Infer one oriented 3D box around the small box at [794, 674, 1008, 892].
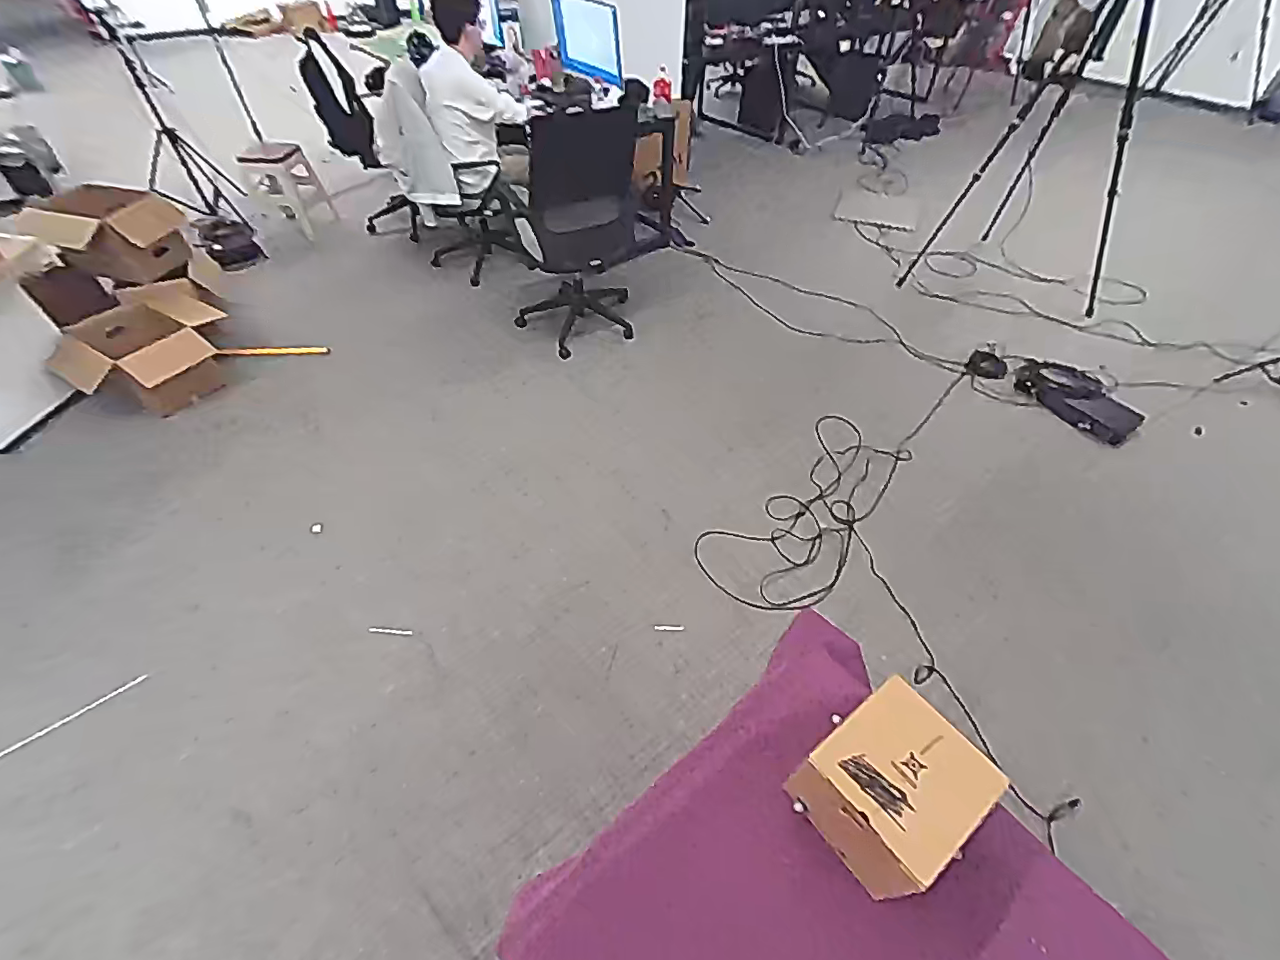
[{"bbox_3d":[0.323,0.399,0.709,0.179,0.176,0.168,-29,55,-23],"label":"small box"}]
